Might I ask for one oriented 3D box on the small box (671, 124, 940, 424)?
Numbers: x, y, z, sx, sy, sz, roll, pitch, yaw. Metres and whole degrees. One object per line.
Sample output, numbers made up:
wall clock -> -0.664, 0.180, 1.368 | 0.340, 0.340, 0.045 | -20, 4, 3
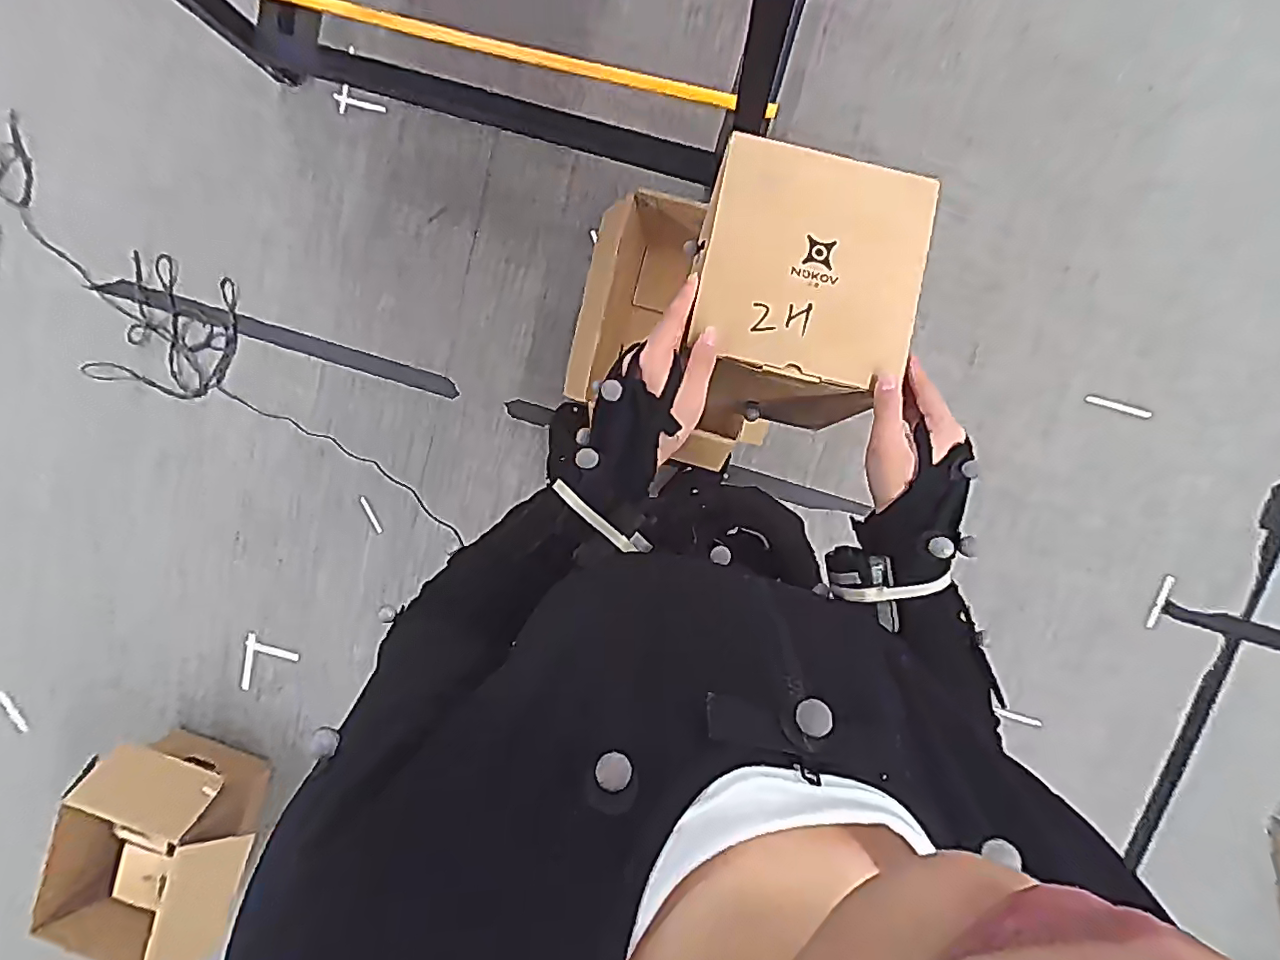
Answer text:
small box -> 0.128, -0.161, 0.482 | 0.168, 0.176, 0.179 | 13, 86, -1
